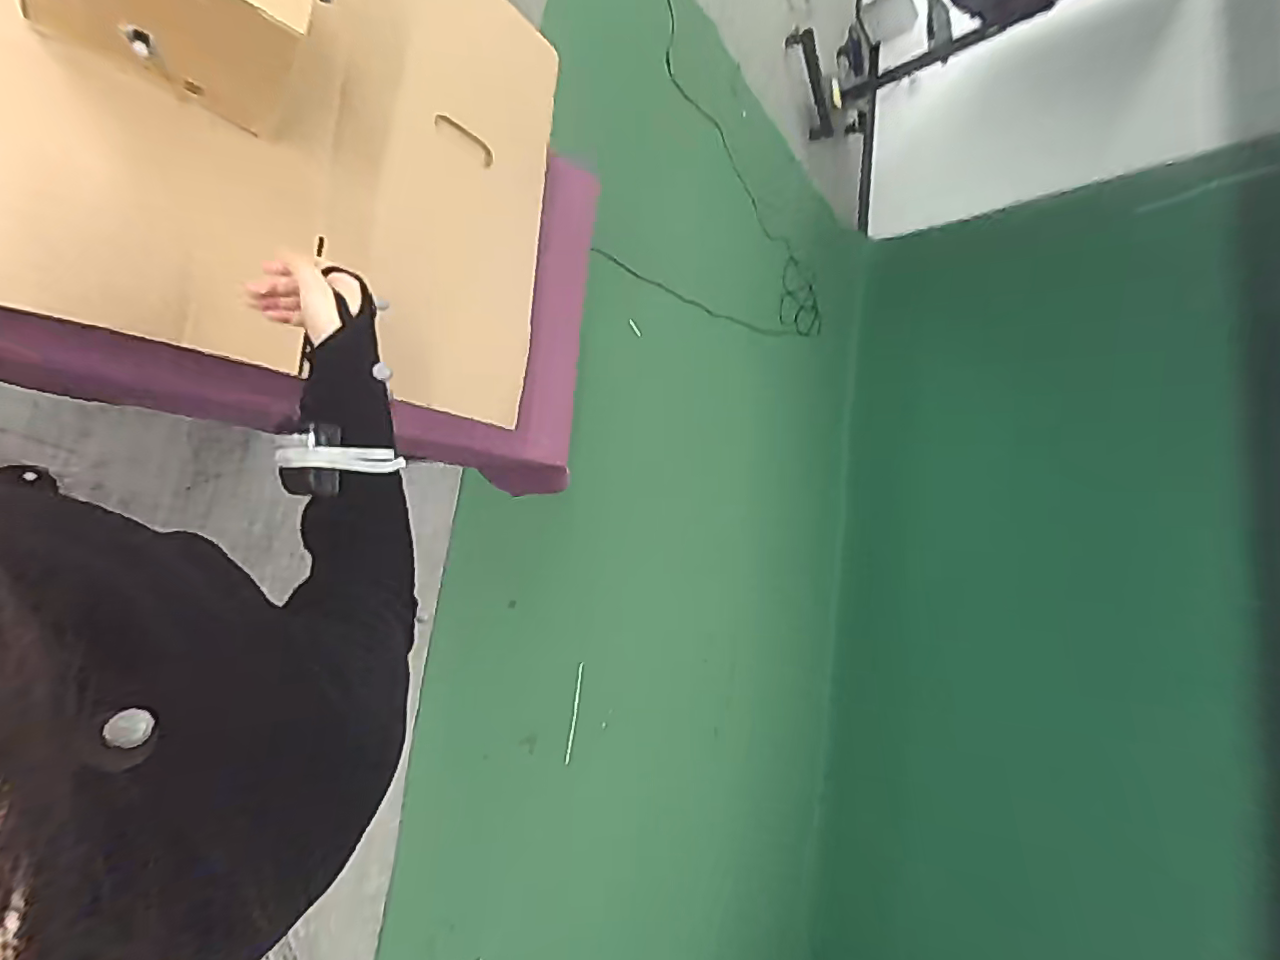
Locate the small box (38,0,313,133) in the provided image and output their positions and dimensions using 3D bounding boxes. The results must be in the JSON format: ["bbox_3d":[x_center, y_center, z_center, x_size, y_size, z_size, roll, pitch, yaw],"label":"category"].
[{"bbox_3d":[-0.373,-0.441,0.444,0.168,0.176,0.179,10,84,-42],"label":"small box"}]
